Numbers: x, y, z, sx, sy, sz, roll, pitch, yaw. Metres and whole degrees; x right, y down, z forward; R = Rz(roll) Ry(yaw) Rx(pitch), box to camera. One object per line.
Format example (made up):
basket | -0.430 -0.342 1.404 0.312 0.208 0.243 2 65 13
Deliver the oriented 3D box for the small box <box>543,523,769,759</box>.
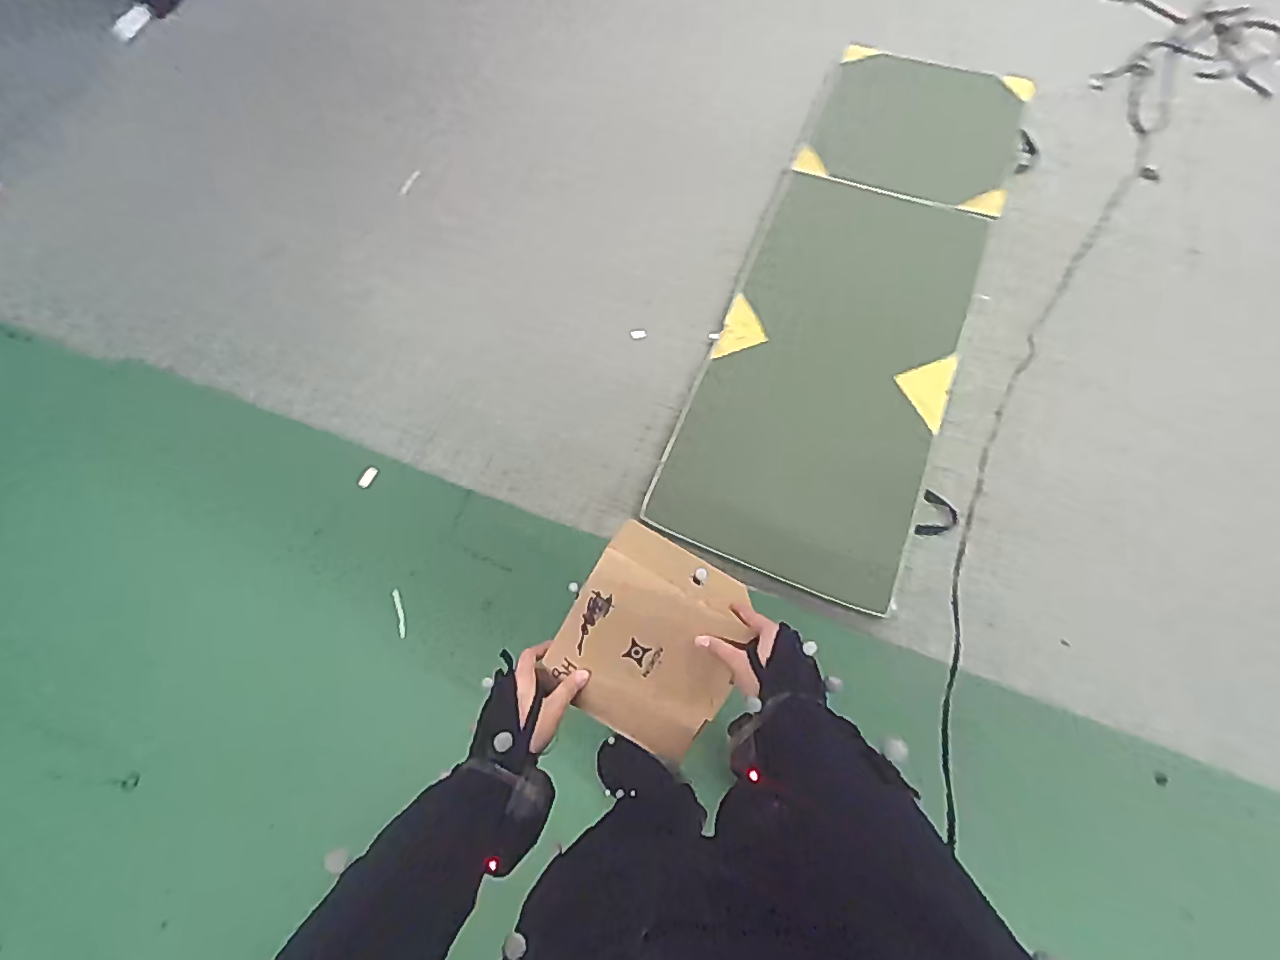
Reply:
small box | 0.021 0.166 0.620 0.179 0.176 0.168 31 96 2
